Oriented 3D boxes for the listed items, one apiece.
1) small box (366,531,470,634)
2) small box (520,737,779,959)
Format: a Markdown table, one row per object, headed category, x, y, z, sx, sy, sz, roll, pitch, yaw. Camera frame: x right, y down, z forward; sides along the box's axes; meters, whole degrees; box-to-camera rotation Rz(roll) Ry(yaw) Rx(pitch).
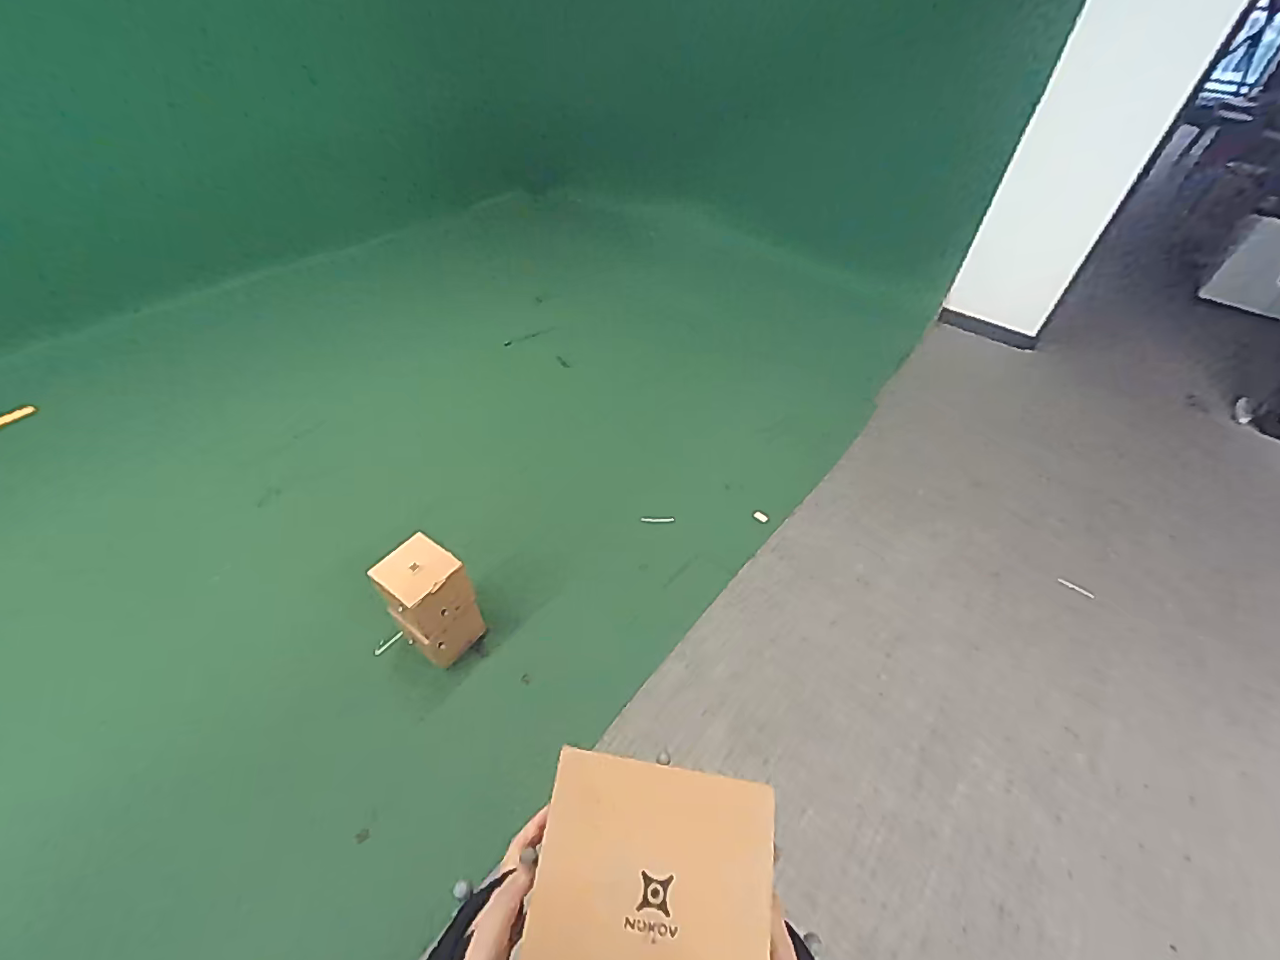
| category | x | y | z | sx | sy | sz | roll | pitch | yaw |
| --- | --- | --- | --- | --- | --- | --- | --- | --- | --- |
| small box | -0.578 | 0.274 | 1.428 | 0.179 | 0.176 | 0.168 | 29 | 52 | 22 |
| small box | 0.003 | 0.324 | 0.435 | 0.168 | 0.176 | 0.179 | 11 | 60 | 1 |
